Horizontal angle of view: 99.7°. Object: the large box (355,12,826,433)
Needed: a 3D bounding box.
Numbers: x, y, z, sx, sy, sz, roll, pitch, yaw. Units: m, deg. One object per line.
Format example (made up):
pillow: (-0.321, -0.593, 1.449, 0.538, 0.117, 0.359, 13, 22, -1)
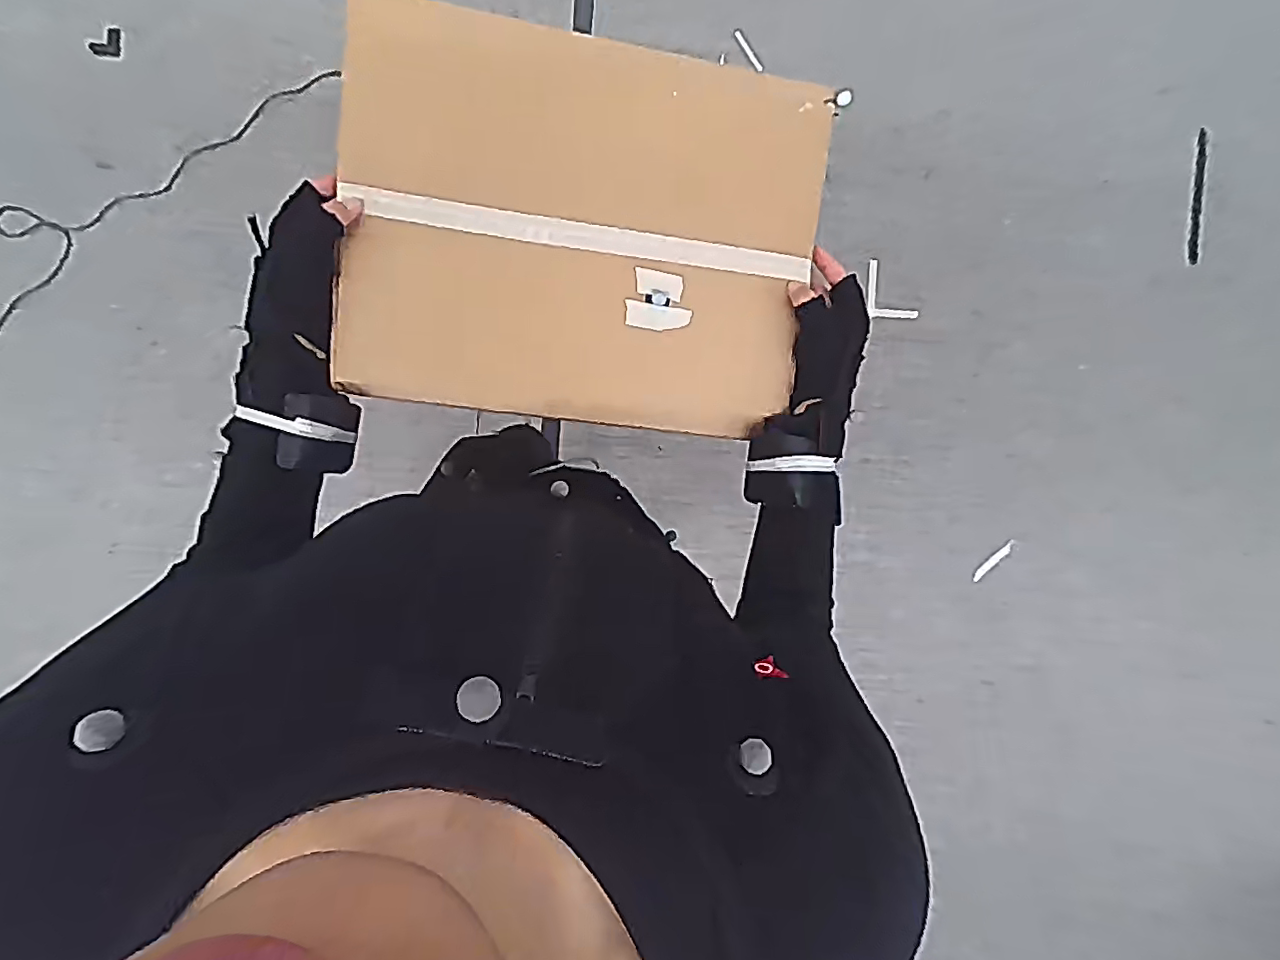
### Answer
large box: (-0.062, -0.233, 0.627, 0.408, 0.320, 0.320, 5, 99, -9)
